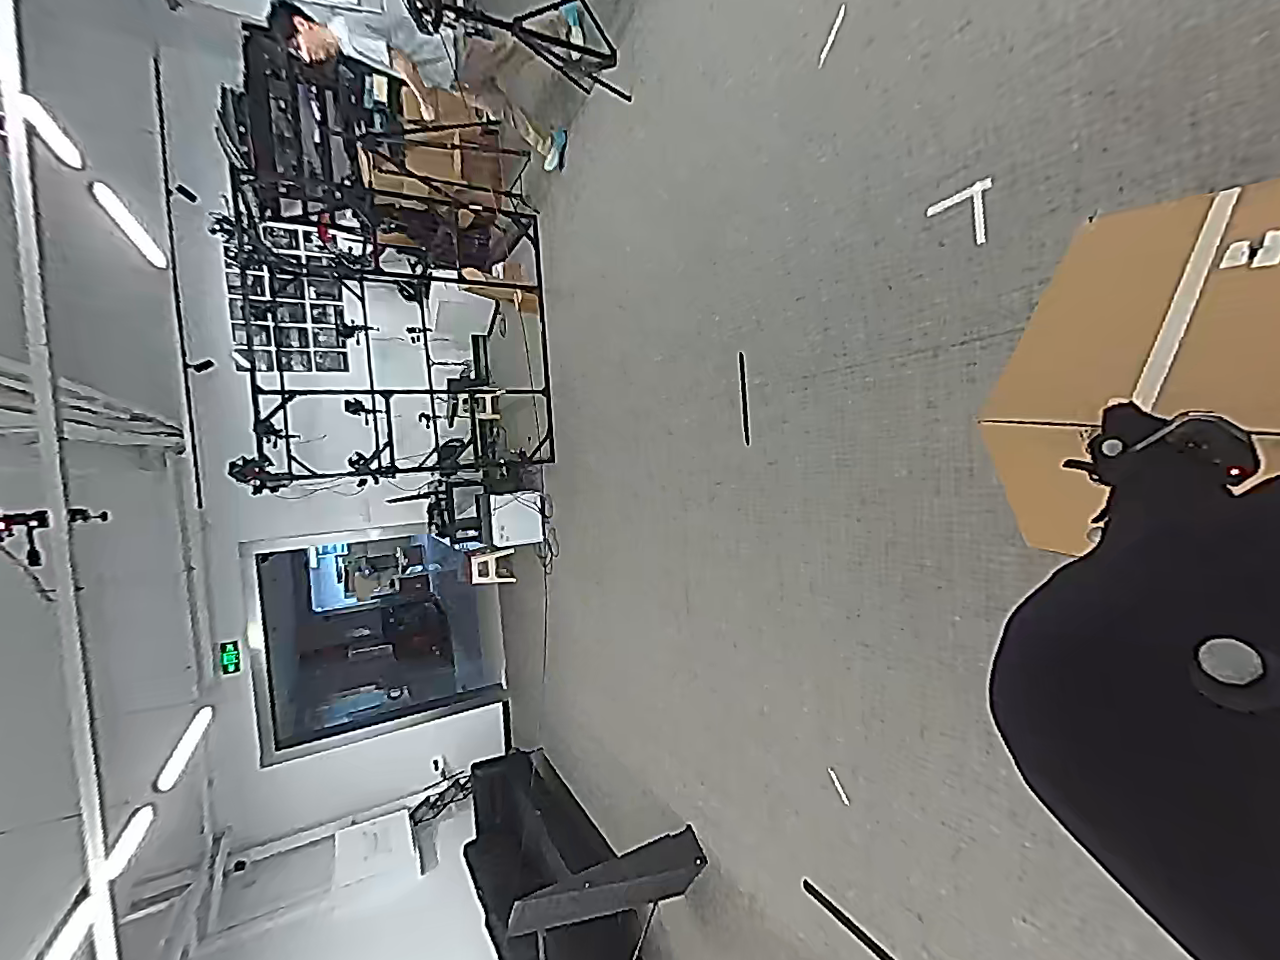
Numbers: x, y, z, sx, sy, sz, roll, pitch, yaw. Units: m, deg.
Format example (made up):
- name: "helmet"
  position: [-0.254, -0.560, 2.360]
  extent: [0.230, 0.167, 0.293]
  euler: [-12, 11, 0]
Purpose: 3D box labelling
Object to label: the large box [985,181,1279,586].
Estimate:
- name: "large box"
  position: [0.743, -0.124, 0.726]
  extent: [0.408, 0.320, 0.320]
  euler: [-53, 33, -15]
